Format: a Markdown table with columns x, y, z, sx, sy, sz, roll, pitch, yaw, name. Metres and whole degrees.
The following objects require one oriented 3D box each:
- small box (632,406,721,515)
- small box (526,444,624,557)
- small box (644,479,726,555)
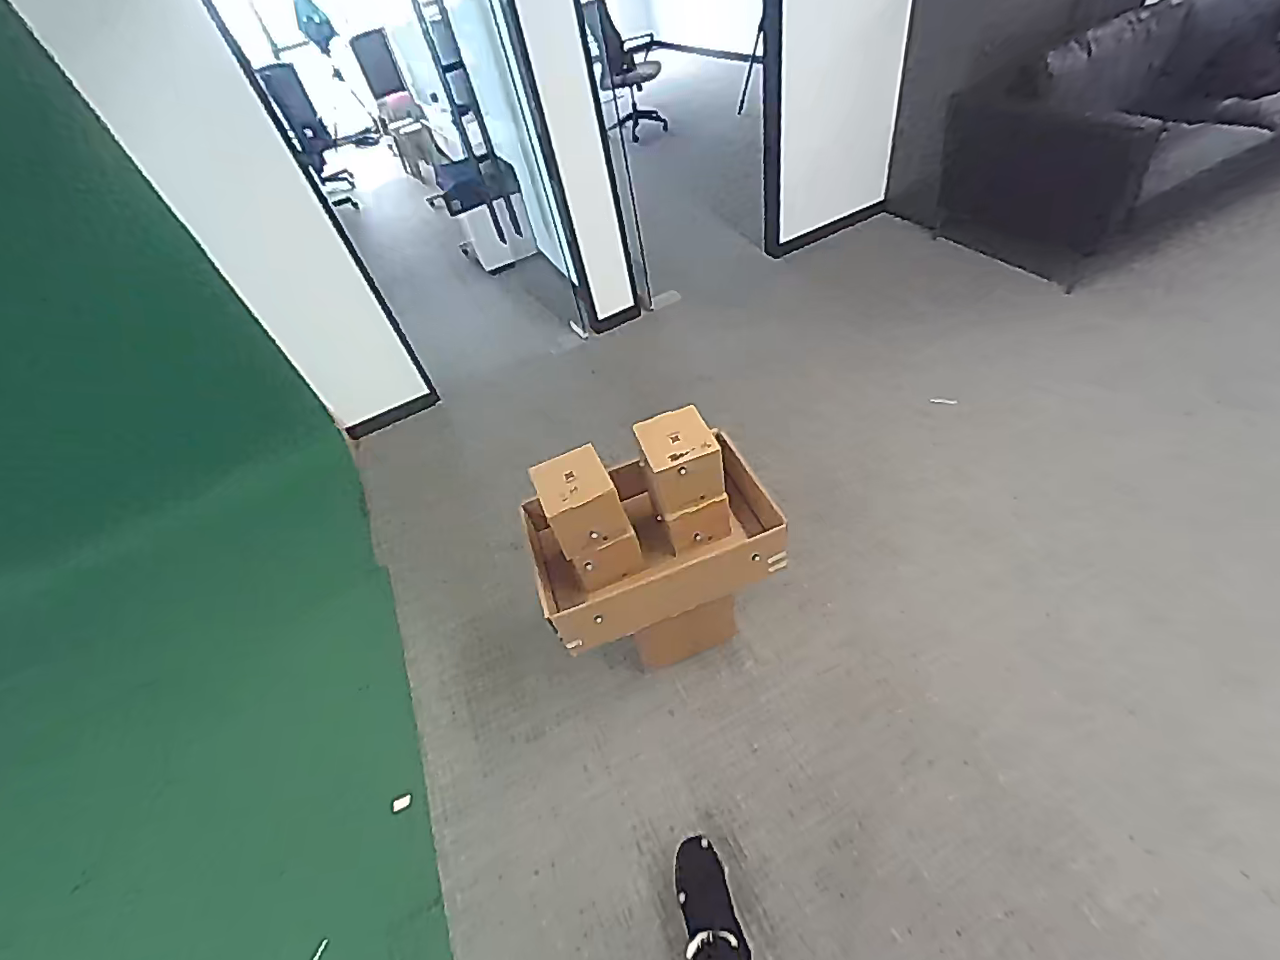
| x | y | z | sx | sy | sz | roll | pitch | yaw | name |
| --- | --- | --- | --- | --- | --- | --- | --- | --- | --- |
| 0.090 | -0.047 | 1.325 | 0.168 | 0.176 | 0.179 | -19 | 48 | -5 | small box |
| -0.152 | 0.050 | 1.288 | 0.168 | 0.176 | 0.179 | -23 | 48 | -8 | small box |
| 0.120 | 0.066 | 1.441 | 0.168 | 0.176 | 0.179 | -21 | 49 | -6 | small box |
